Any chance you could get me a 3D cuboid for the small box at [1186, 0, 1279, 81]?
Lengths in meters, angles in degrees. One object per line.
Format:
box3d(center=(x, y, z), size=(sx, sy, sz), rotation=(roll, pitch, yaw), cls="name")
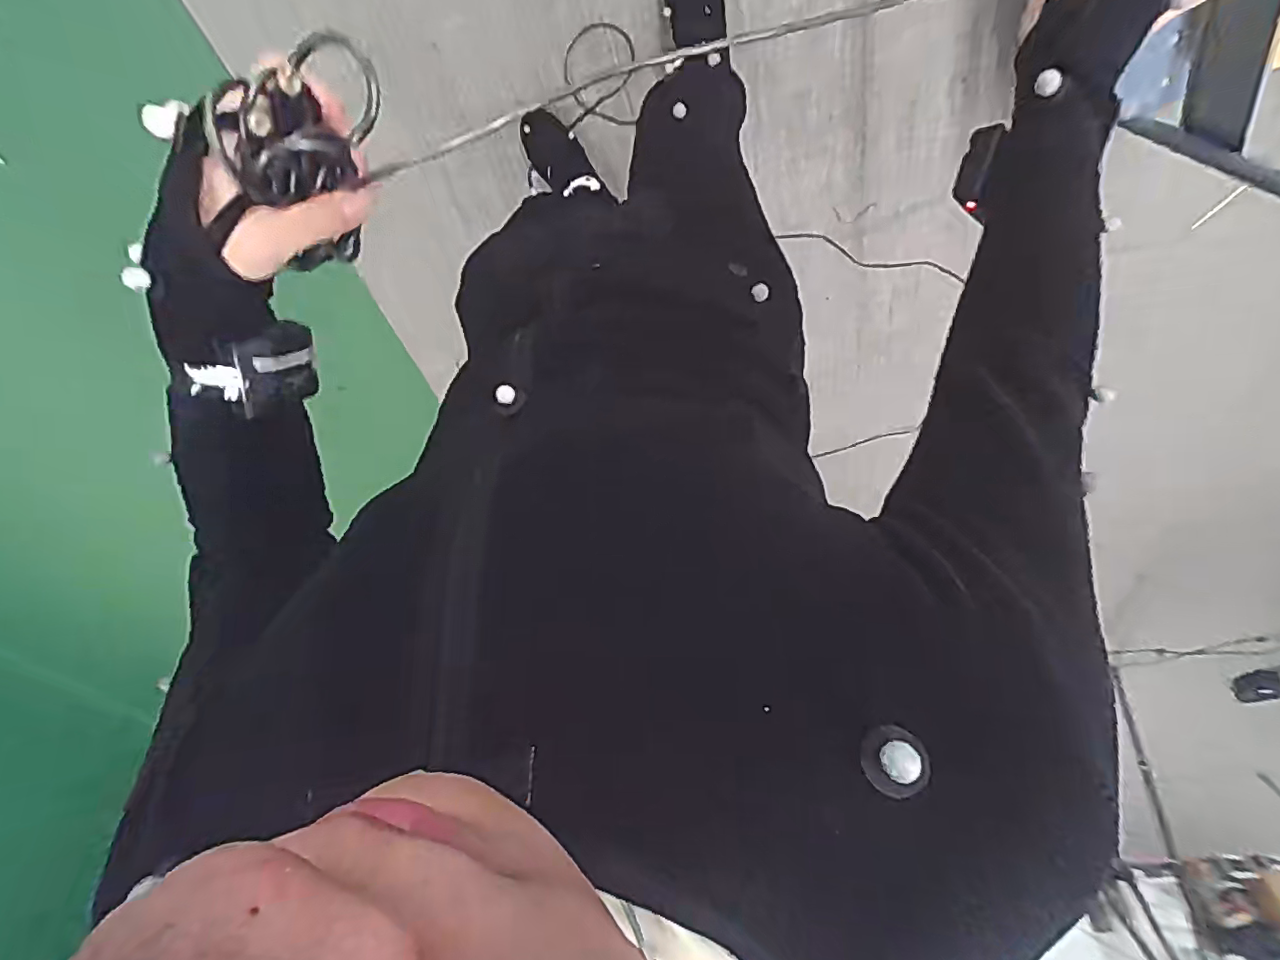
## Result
box3d(center=(1.072, -0.791, 0.881), size=(0.179, 0.176, 0.168), rotation=(-13, 132, 14), cls="small box")
